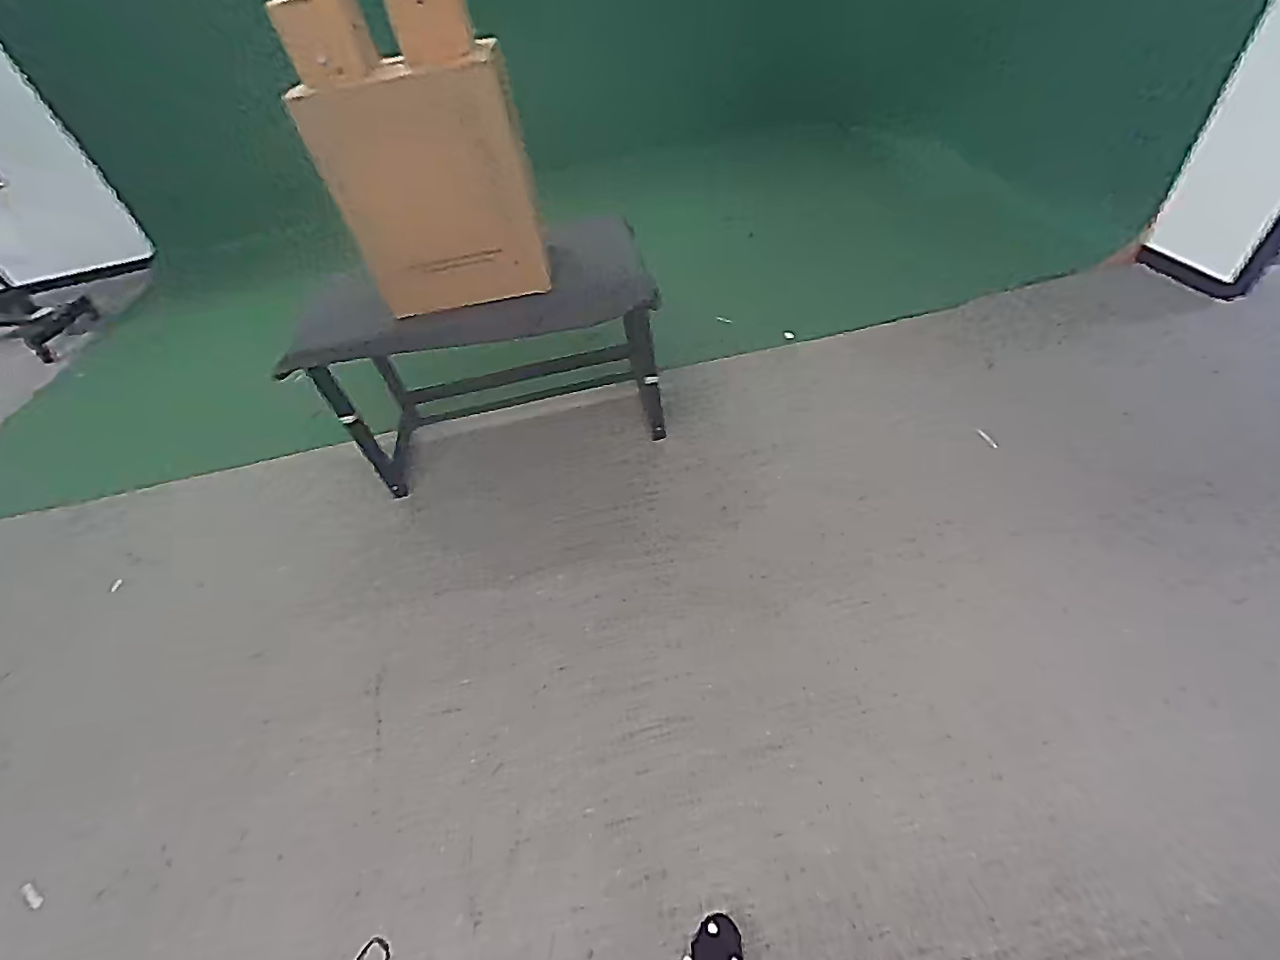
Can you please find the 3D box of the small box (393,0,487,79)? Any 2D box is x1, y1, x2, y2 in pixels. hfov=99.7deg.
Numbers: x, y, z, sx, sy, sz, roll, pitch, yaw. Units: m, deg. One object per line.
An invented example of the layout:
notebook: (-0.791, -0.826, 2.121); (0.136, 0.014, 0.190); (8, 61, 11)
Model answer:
small box: (-0.522, -1.190, 1.435); (0.179, 0.176, 0.168); (-9, 48, -1)

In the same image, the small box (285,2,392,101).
small box: (-0.779, -1.123, 1.420); (0.168, 0.176, 0.179); (-10, 48, 1)
